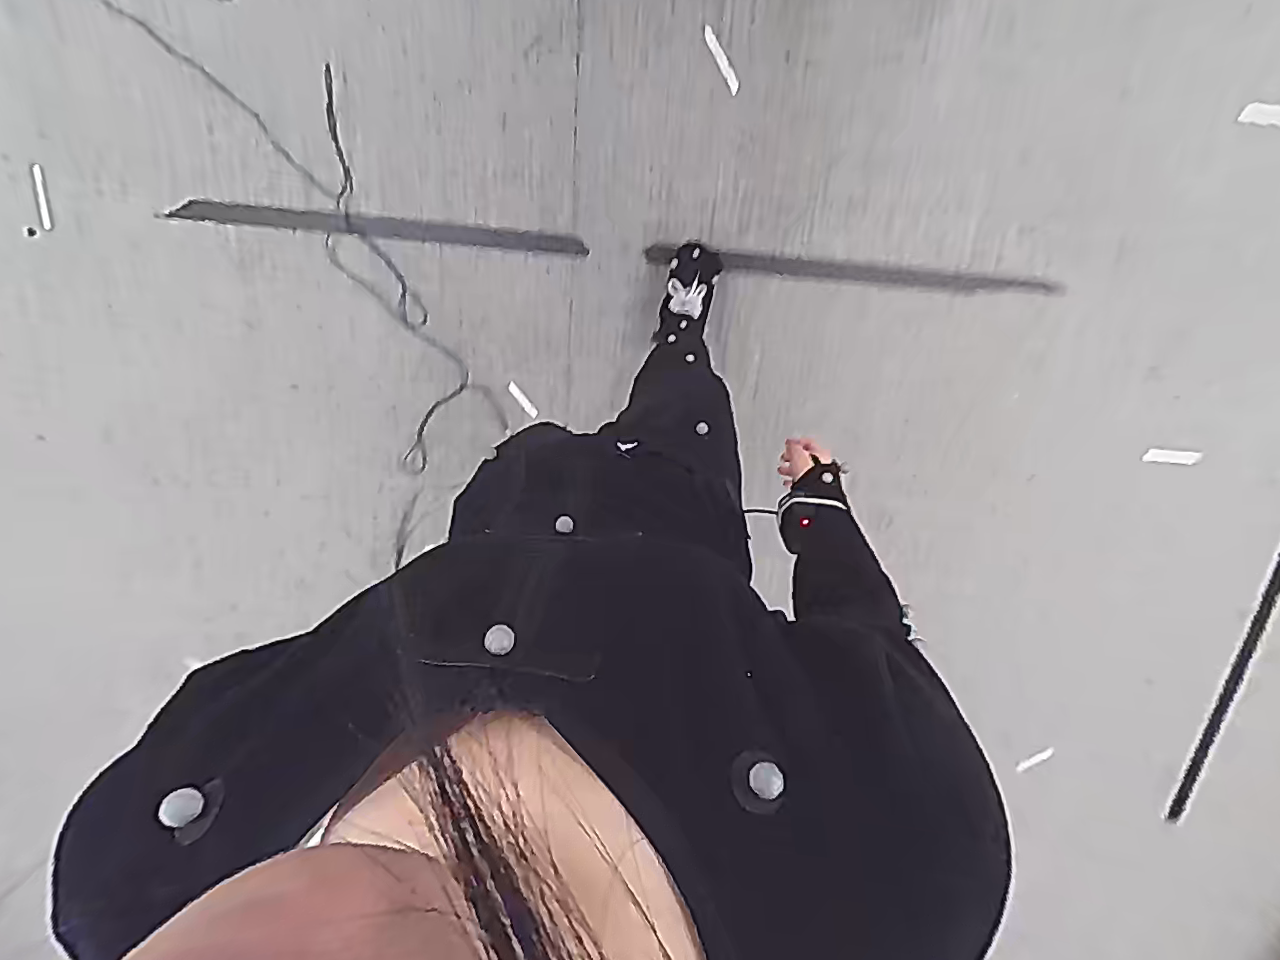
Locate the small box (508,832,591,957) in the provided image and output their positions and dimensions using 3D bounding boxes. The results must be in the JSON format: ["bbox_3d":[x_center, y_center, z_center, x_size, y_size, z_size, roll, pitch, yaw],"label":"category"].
[{"bbox_3d":[-0.207,0.975,1.281,0.168,0.176,0.179,-2,106,-1],"label":"small box"}]

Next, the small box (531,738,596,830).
[{"bbox_3d":[-0.221,0.894,1.597,0.168,0.176,0.179,-2,106,-1],"label":"small box"}]
